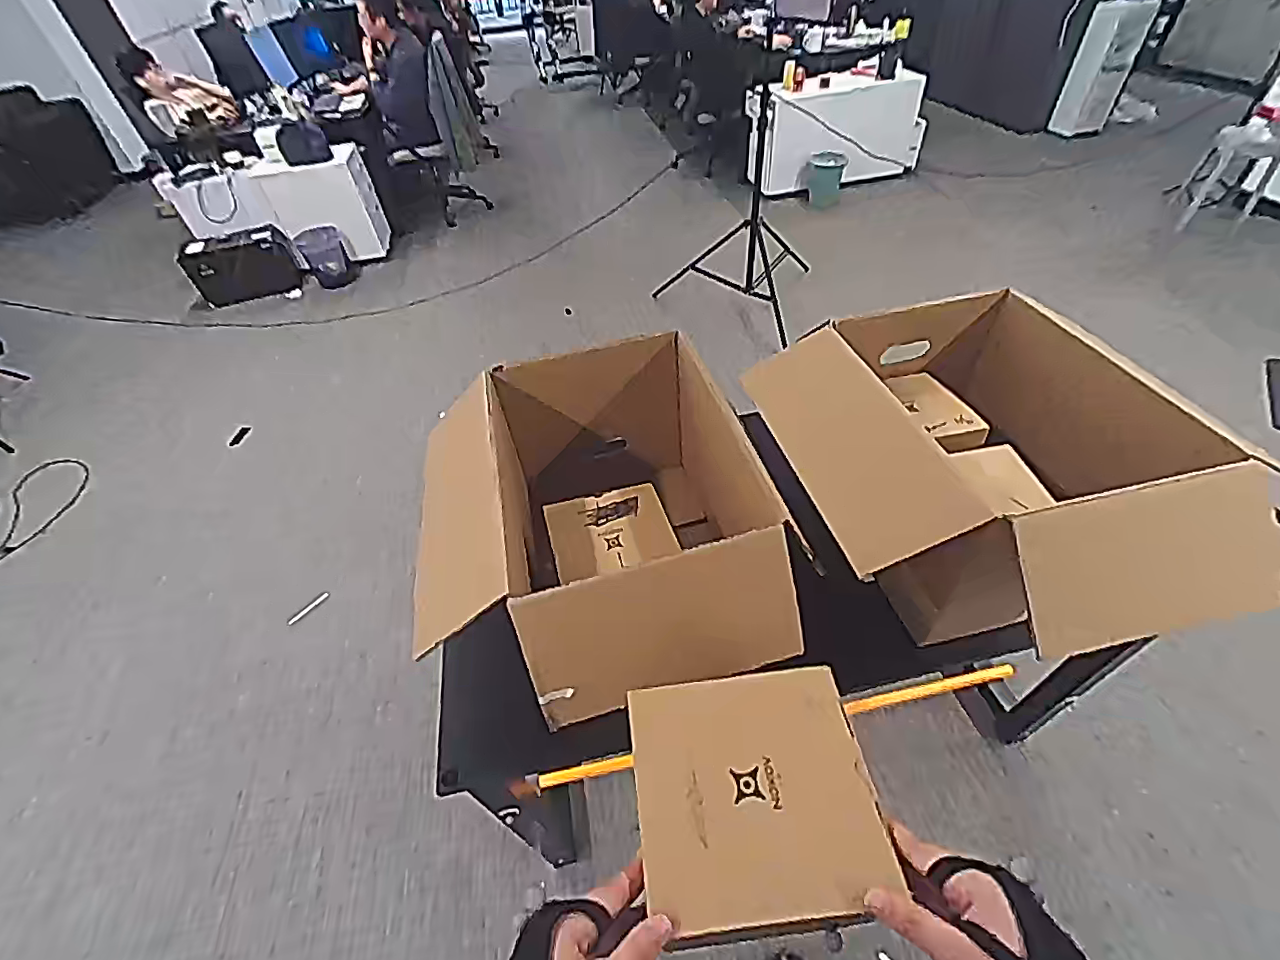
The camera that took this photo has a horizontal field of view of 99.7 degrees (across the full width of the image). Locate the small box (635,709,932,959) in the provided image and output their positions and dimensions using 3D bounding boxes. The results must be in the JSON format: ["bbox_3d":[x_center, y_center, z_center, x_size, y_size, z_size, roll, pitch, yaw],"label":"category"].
[{"bbox_3d":[0.095,0.312,0.445,0.179,0.176,0.168,-8,45,-1],"label":"small box"}]
